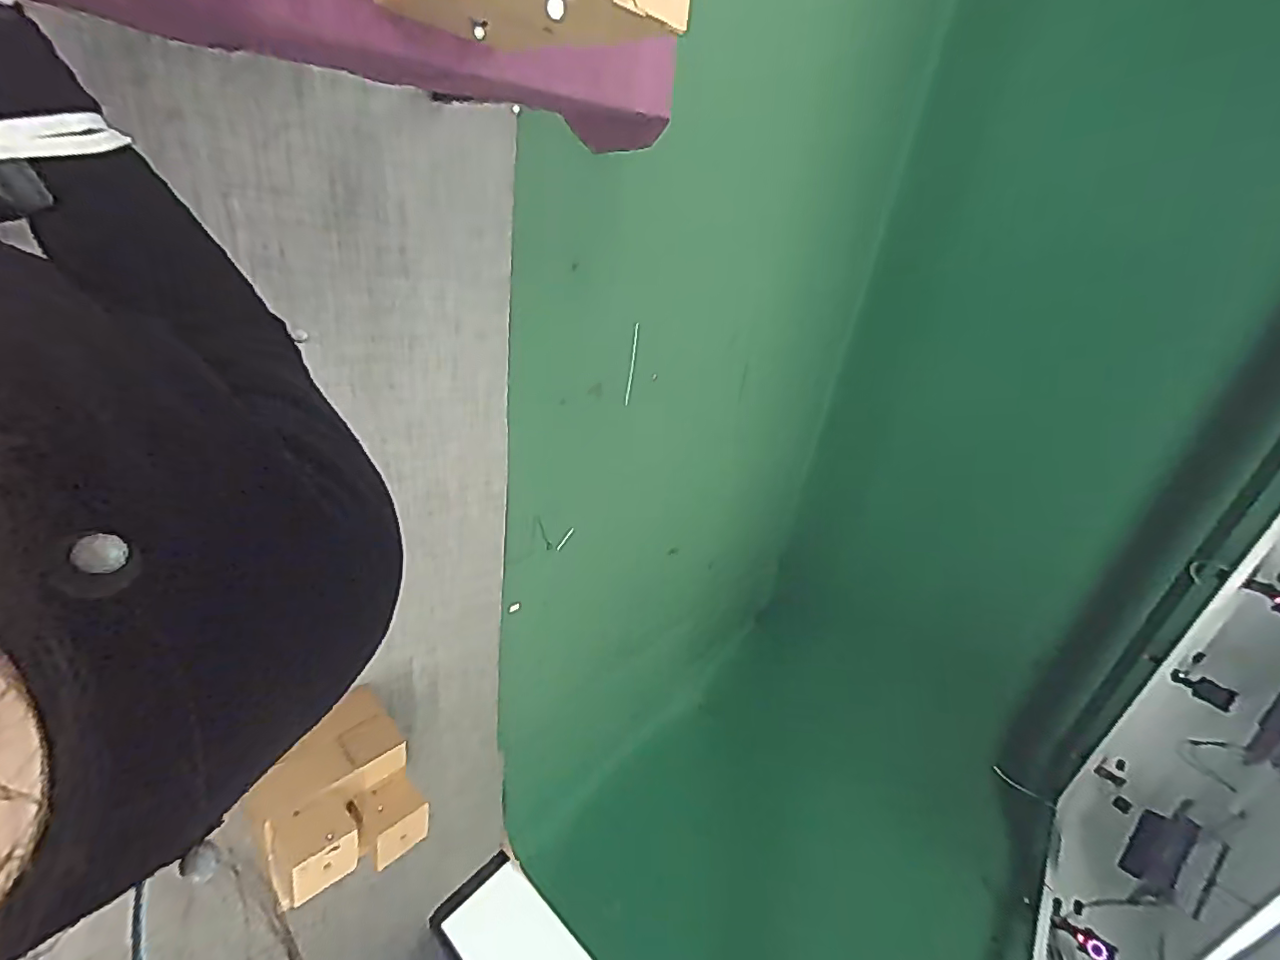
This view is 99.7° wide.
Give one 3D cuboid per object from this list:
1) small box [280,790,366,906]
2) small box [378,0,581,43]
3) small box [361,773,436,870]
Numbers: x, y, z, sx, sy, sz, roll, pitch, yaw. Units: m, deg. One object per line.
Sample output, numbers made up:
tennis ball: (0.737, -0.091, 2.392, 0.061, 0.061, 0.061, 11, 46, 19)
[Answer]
small box: (-0.899, 1.033, 1.532, 0.168, 0.176, 0.179, -15, 126, -48)
small box: (-0.180, -0.608, 0.596, 0.179, 0.176, 0.168, -21, 128, -44)
small box: (-0.779, 1.084, 1.740, 0.168, 0.176, 0.179, -18, 129, -47)
